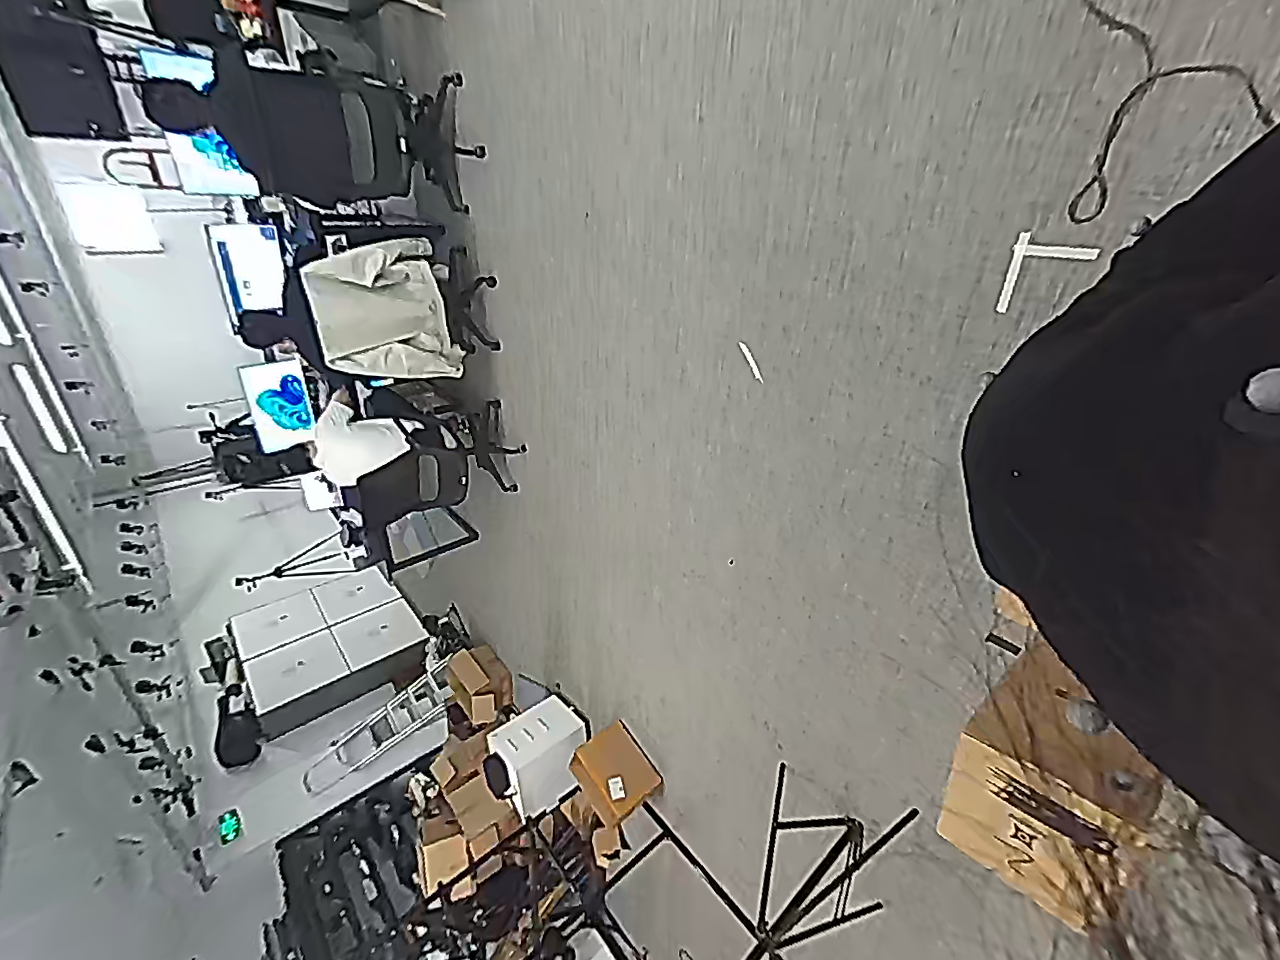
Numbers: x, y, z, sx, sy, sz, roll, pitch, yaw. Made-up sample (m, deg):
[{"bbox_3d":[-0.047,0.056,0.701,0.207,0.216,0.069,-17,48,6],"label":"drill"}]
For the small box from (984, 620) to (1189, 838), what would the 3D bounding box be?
[{"bbox_3d":[0.611,0.324,0.744,0.168,0.176,0.179,24,123,46],"label":"small box"}]
